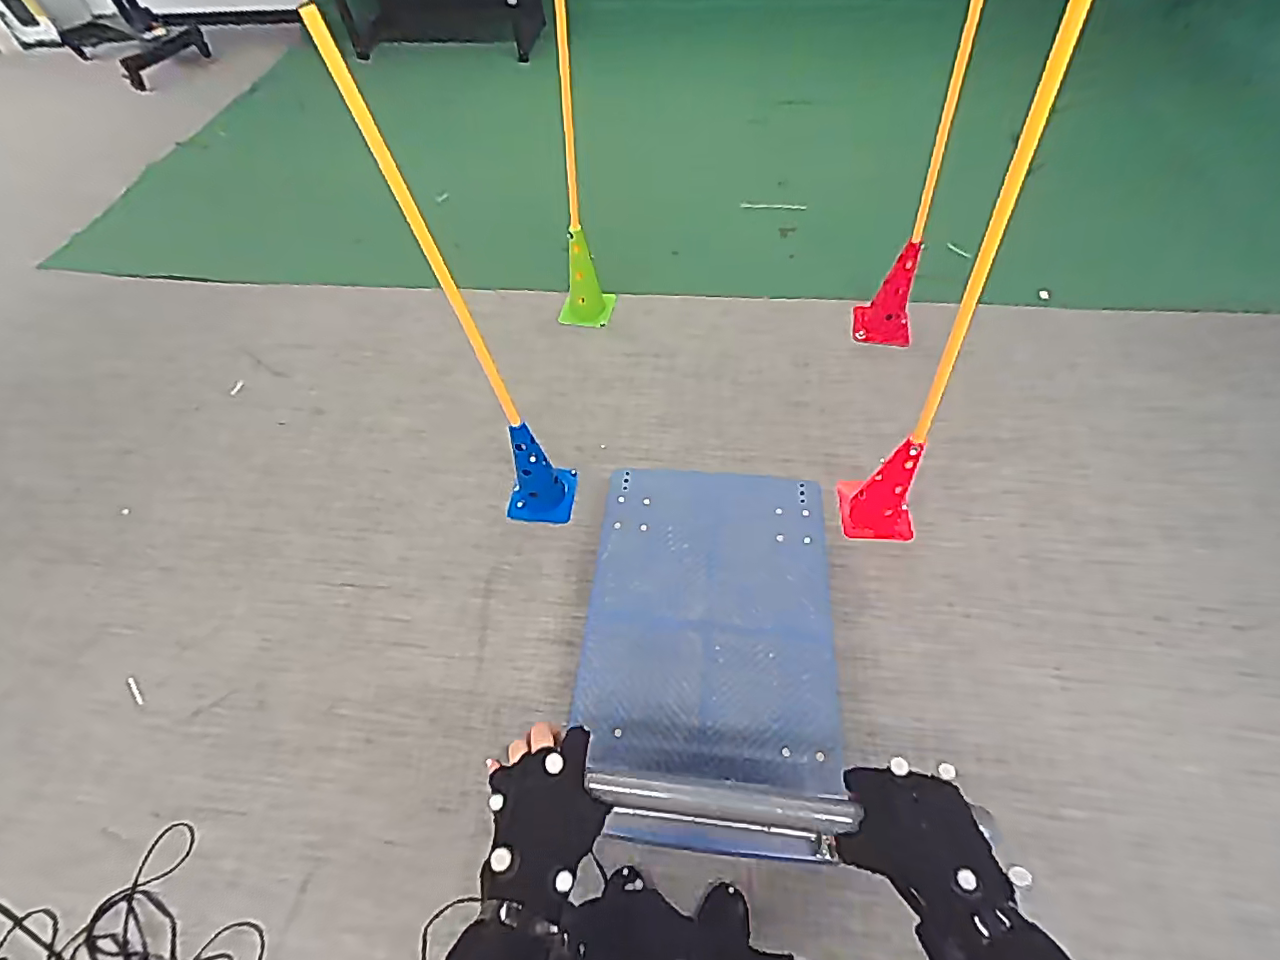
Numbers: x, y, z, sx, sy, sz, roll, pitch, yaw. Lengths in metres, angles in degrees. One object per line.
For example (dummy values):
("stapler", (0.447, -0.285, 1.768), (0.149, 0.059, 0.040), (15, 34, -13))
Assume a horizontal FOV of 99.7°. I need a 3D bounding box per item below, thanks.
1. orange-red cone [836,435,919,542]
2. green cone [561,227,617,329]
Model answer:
("orange-red cone", (0.686, 0.001, 1.487), (0.199, 0.360, 0.198), (3, 56, 7))
("green cone", (-0.217, -0.781, 2.047), (0.202, 0.368, 0.200), (7, 57, 9))
